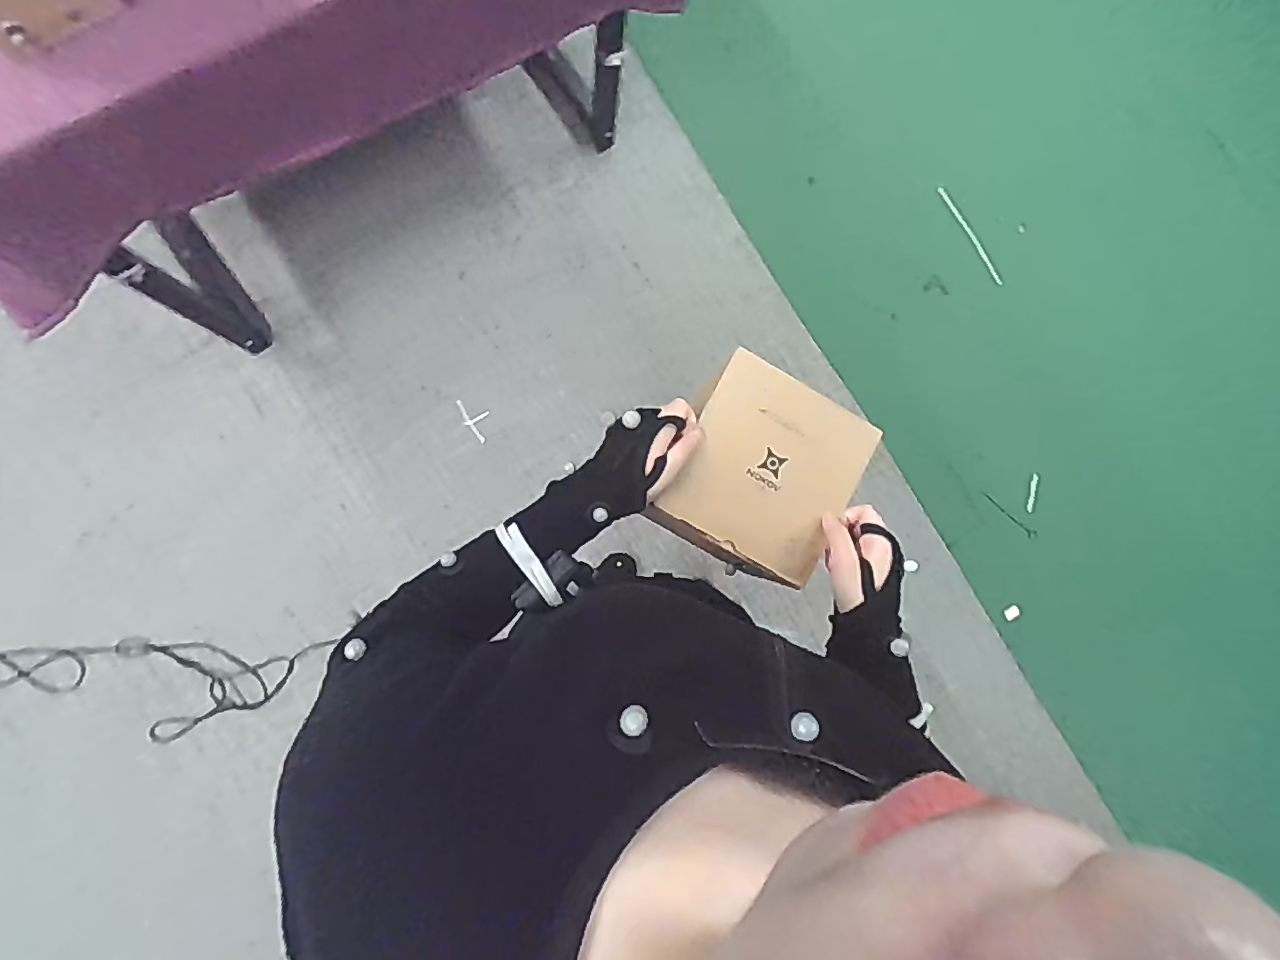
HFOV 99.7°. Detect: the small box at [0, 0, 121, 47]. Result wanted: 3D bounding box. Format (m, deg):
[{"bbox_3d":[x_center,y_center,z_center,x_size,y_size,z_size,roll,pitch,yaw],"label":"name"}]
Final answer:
[{"bbox_3d":[-0.821,-0.690,0.668,0.168,0.176,0.179,-36,89,-9],"label":"small box"}]
